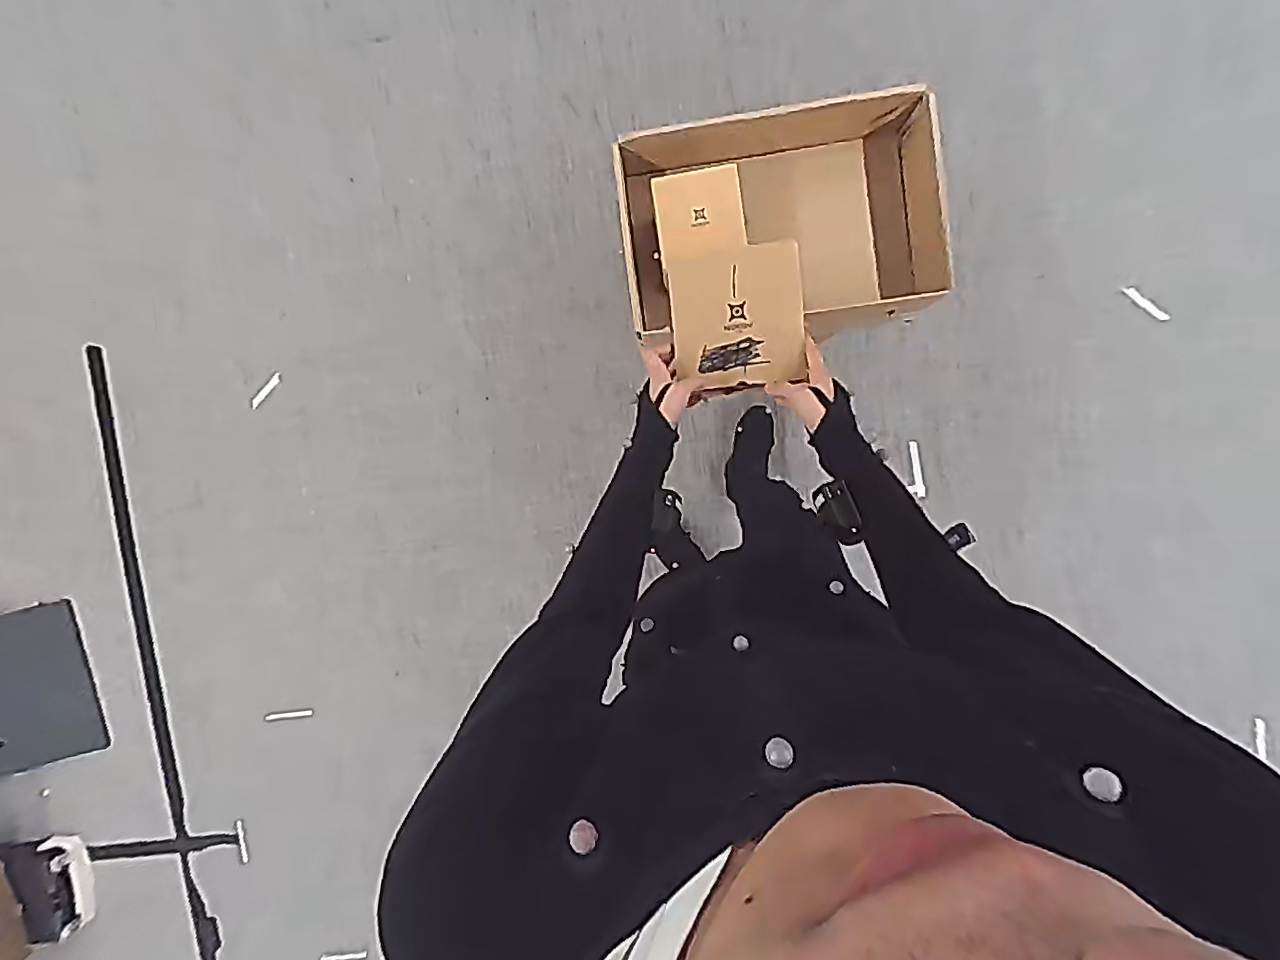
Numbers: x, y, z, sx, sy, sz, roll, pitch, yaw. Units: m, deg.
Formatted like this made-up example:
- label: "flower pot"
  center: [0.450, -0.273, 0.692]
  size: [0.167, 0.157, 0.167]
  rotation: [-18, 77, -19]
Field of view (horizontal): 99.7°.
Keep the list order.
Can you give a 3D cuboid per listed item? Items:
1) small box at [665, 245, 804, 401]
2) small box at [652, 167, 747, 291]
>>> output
- label: "small box"
  center: [0.129, -0.205, 0.757]
  size: [0.168, 0.176, 0.179]
  rotation: [-5, 95, 7]
- label: "small box"
  center: [0.117, -0.497, 1.103]
  size: [0.168, 0.176, 0.179]
  rotation: [-9, 92, 4]
